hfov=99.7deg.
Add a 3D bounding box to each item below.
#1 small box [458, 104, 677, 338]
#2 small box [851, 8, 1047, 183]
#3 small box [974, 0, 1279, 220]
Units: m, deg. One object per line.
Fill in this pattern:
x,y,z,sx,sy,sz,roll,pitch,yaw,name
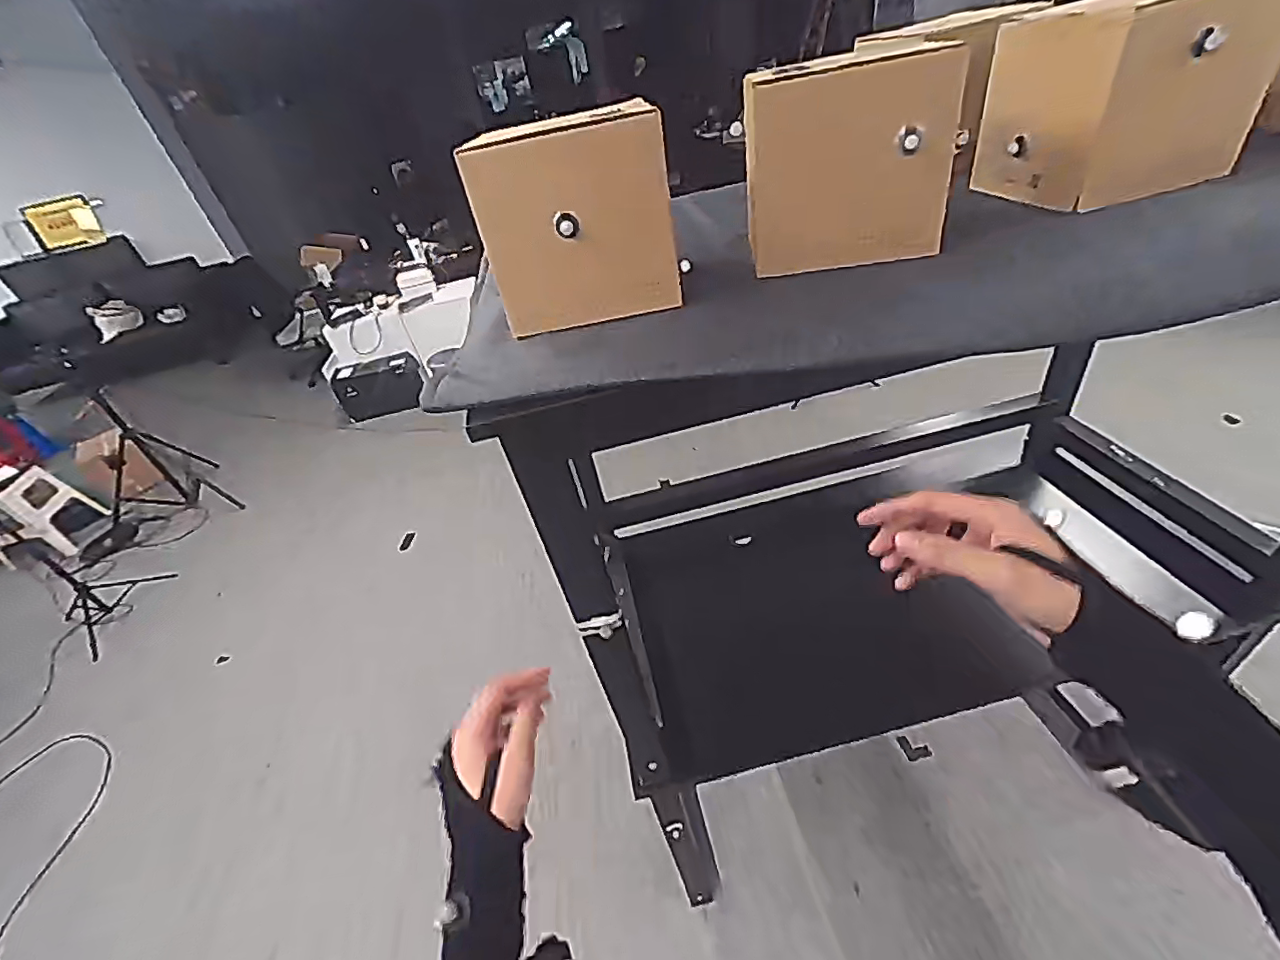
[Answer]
-0.060,-0.267,0.559,0.179,0.176,0.168,-11,37,3,small box
0.416,-0.537,0.767,0.168,0.176,0.179,-15,38,-2,small box
0.497,-0.398,0.573,0.179,0.176,0.168,-15,38,-2,small box
